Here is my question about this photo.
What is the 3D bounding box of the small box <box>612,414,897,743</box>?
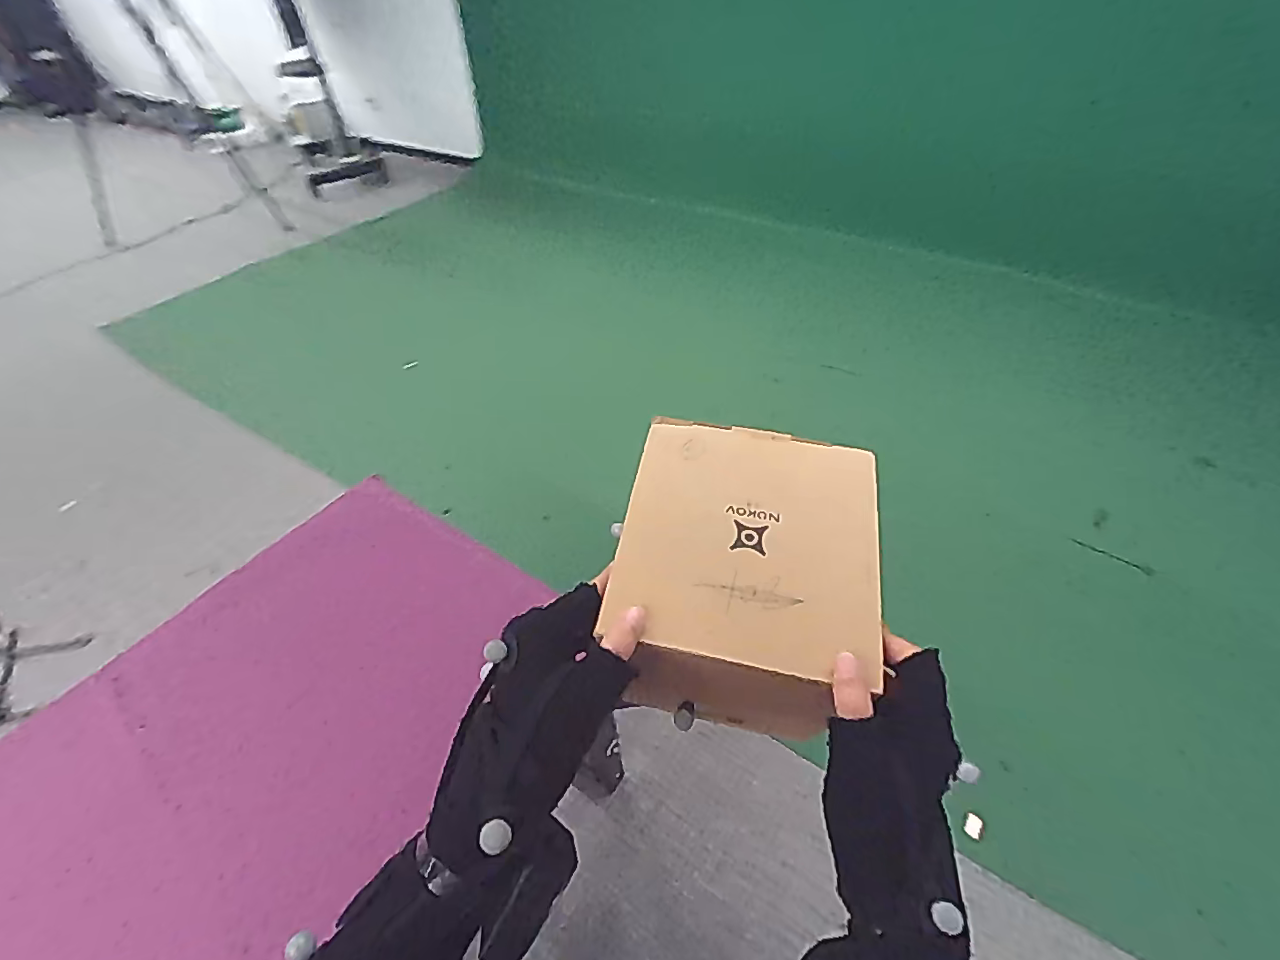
[{"bbox_3d":[0.079,0.080,0.416,0.168,0.176,0.179,11,57,8],"label":"small box"}]
